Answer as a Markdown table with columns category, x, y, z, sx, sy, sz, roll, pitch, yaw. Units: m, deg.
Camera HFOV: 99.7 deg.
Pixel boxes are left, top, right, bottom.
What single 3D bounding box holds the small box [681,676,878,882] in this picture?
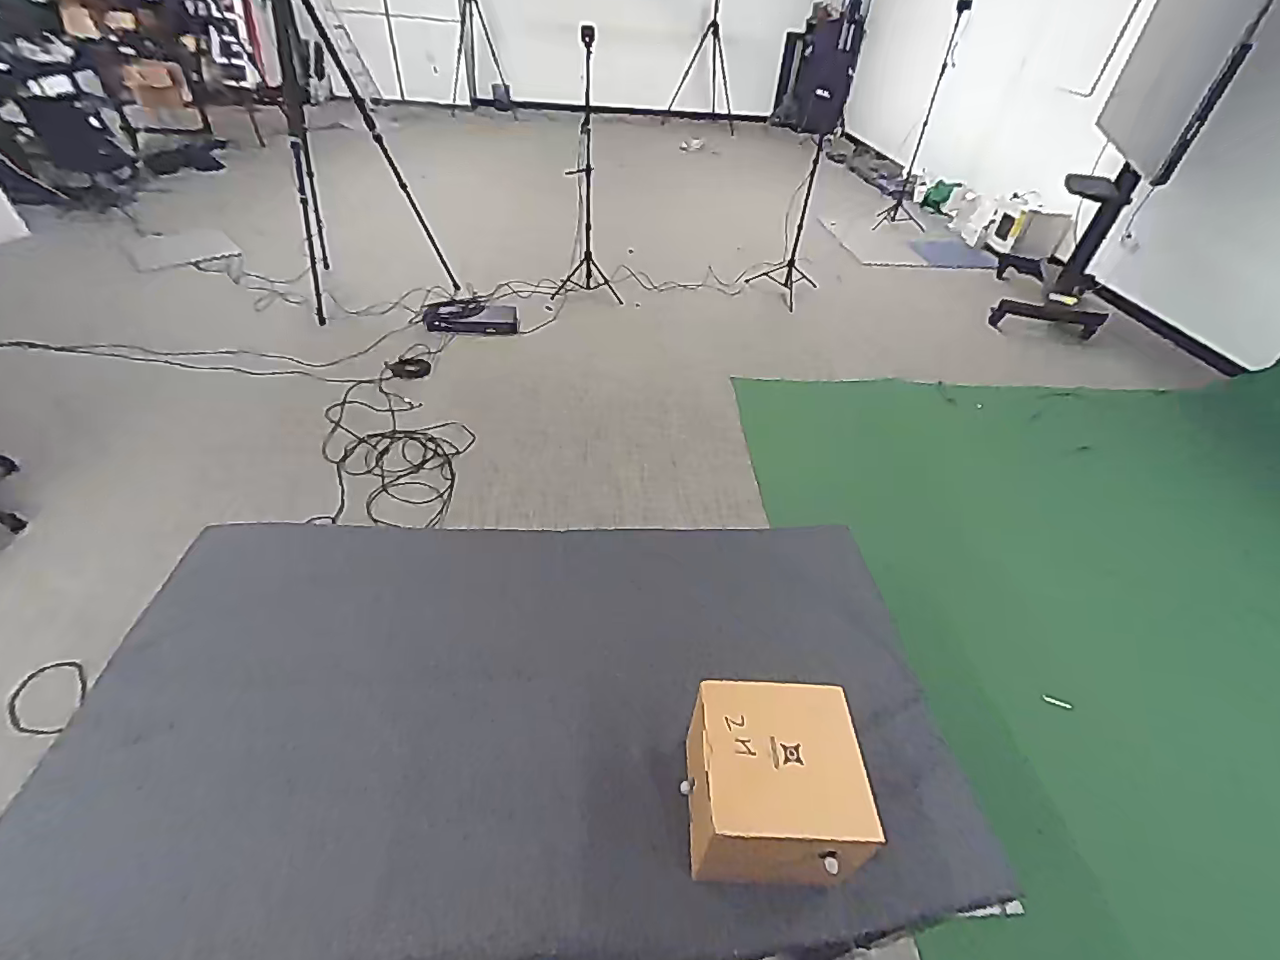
| category | x | y | z | sx | sy | sz | roll | pitch | yaw |
| --- | --- | --- | --- | --- | --- | --- | --- | --- | --- |
| small box | 0.146 | 0.354 | 0.640 | 0.179 | 0.176 | 0.168 | 3 | 40 | -1 |
